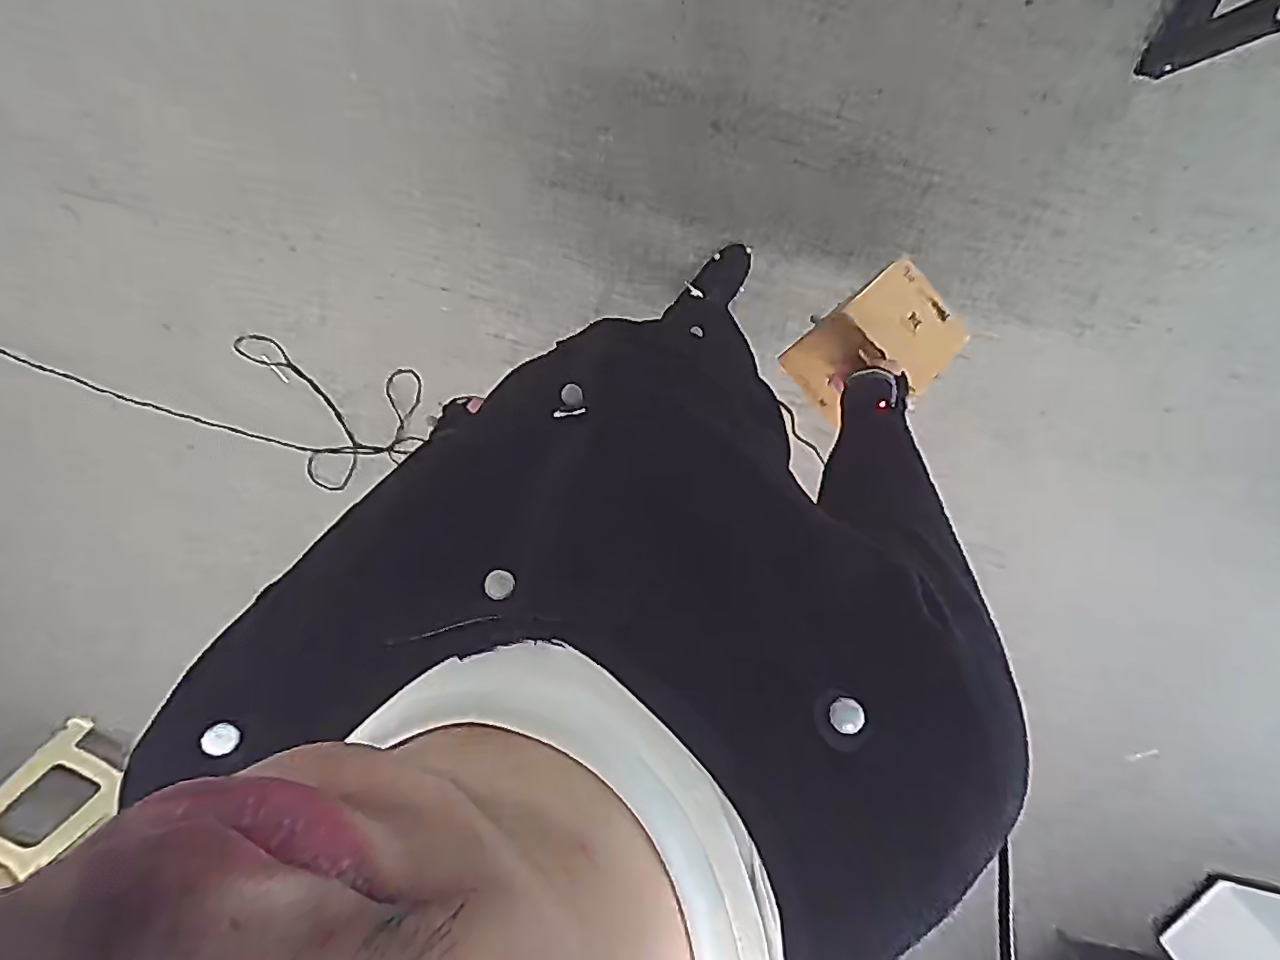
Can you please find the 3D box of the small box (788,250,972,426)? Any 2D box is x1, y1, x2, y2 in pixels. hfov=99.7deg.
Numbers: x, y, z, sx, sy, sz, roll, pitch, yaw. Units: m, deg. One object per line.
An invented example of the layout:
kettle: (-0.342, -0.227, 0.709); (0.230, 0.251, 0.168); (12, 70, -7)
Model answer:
small box: (0.359, -0.210, 0.843); (0.179, 0.176, 0.168); (-42, 93, -22)
